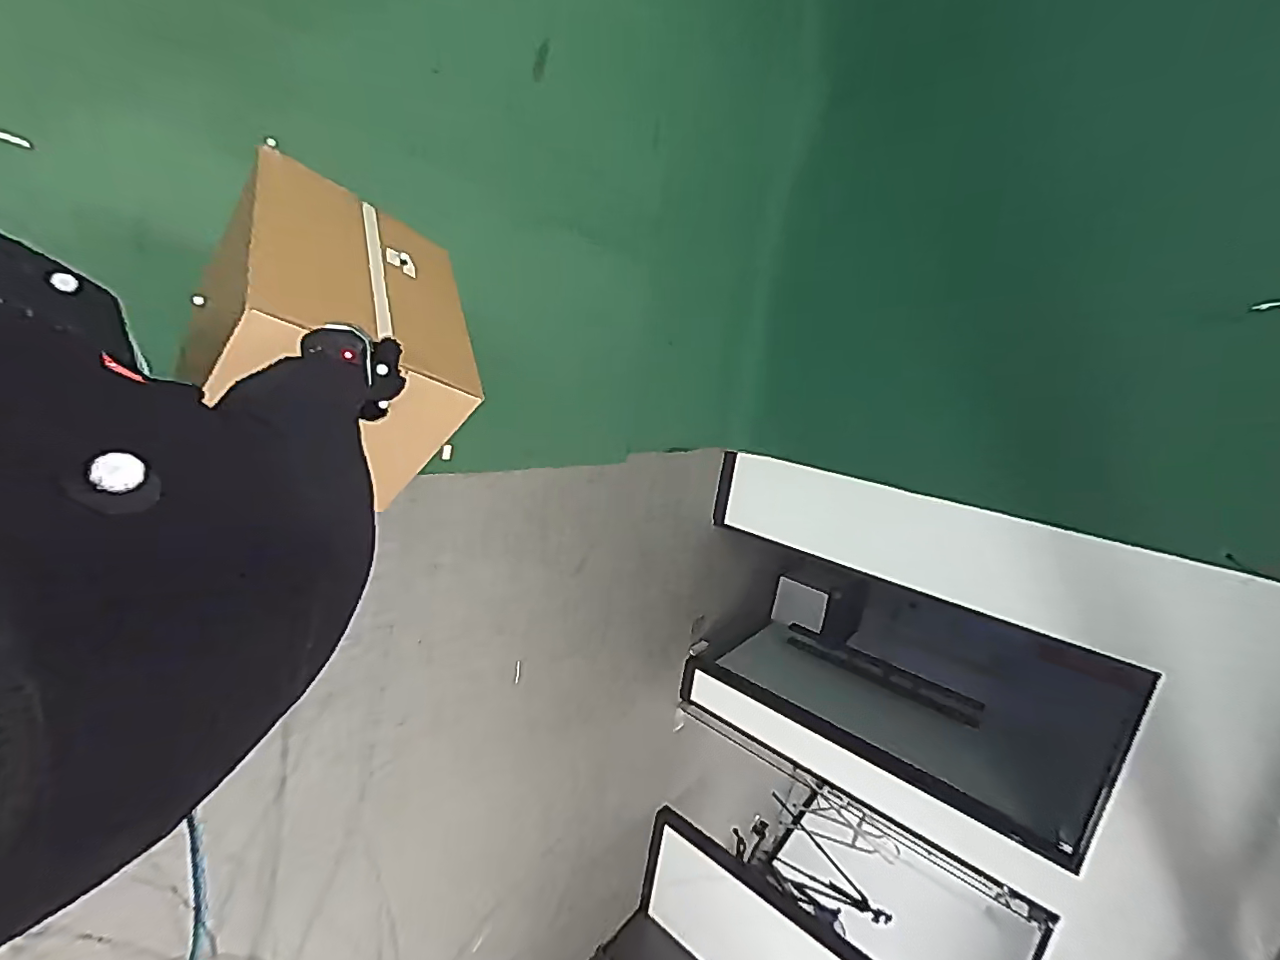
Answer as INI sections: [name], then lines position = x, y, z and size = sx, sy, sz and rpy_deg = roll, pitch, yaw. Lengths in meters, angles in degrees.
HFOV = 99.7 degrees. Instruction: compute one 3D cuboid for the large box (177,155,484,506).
[large box]
position = -0.508, -0.218, 0.888
size = 0.320, 0.408, 0.320
rpy_deg = -40, 144, 24
